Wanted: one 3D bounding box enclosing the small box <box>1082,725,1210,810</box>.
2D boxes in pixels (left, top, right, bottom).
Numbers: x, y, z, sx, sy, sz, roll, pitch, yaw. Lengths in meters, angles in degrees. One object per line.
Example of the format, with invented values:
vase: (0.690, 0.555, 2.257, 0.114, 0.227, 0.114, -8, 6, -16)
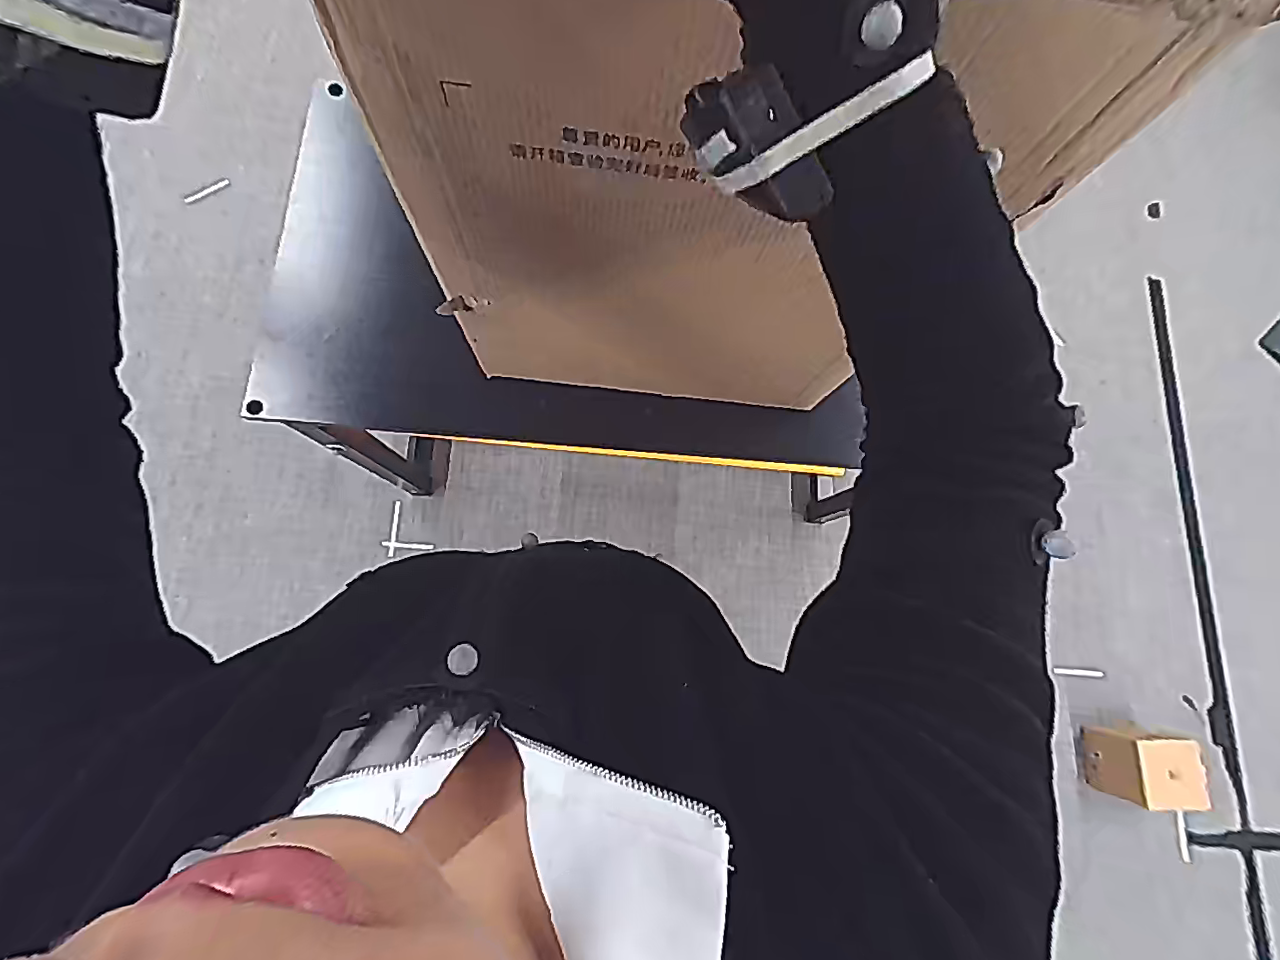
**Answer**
small box: (1.350, 0.765, 1.454, 0.179, 0.176, 0.168, 1, 77, -4)
